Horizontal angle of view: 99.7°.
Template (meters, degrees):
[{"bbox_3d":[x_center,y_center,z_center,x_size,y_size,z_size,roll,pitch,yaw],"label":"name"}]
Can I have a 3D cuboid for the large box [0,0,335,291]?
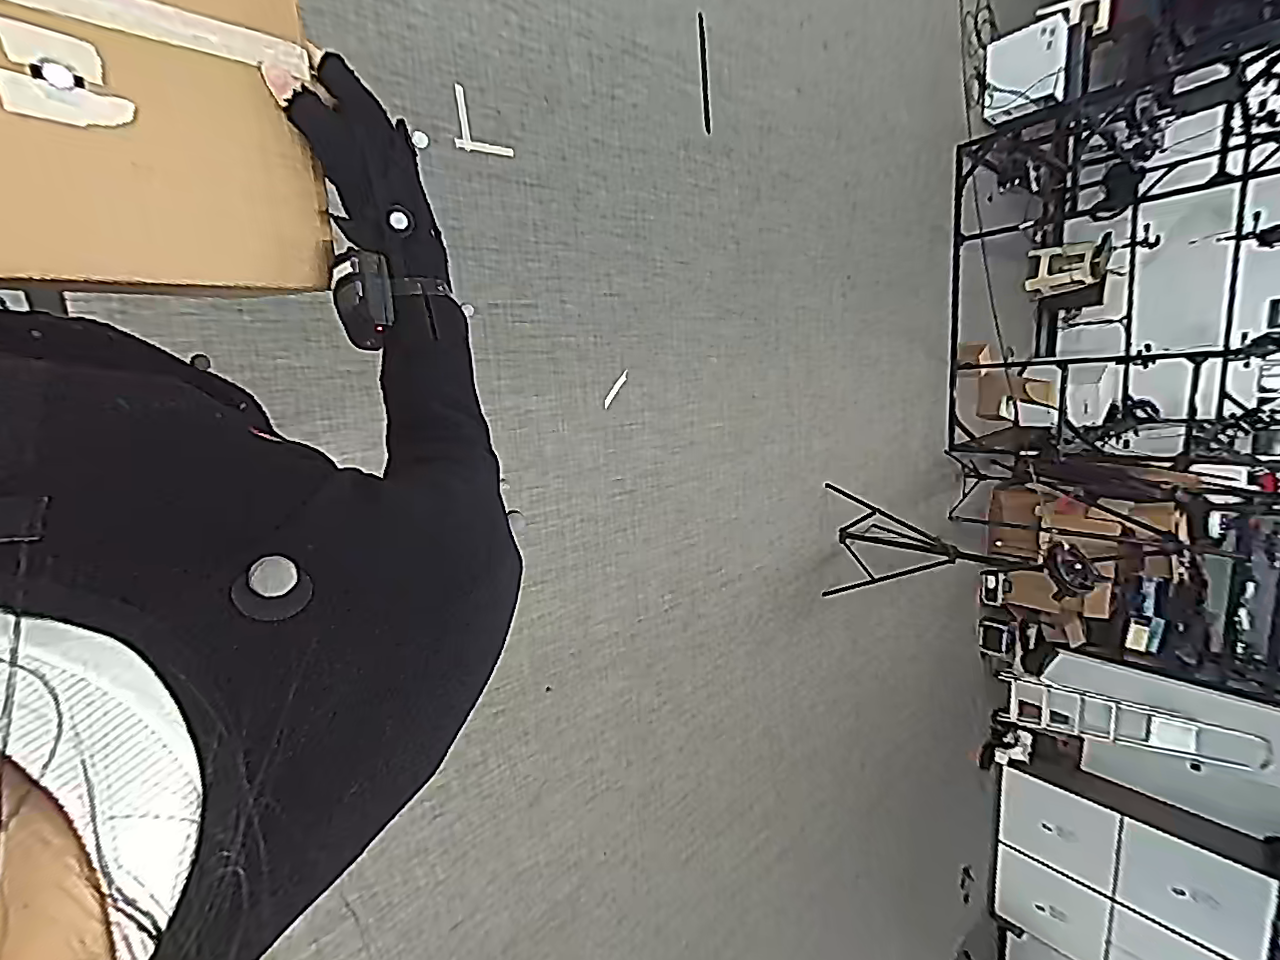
[{"bbox_3d":[-0.502,-0.302,0.378,0.408,0.320,0.320,-16,114,-42],"label":"large box"}]
